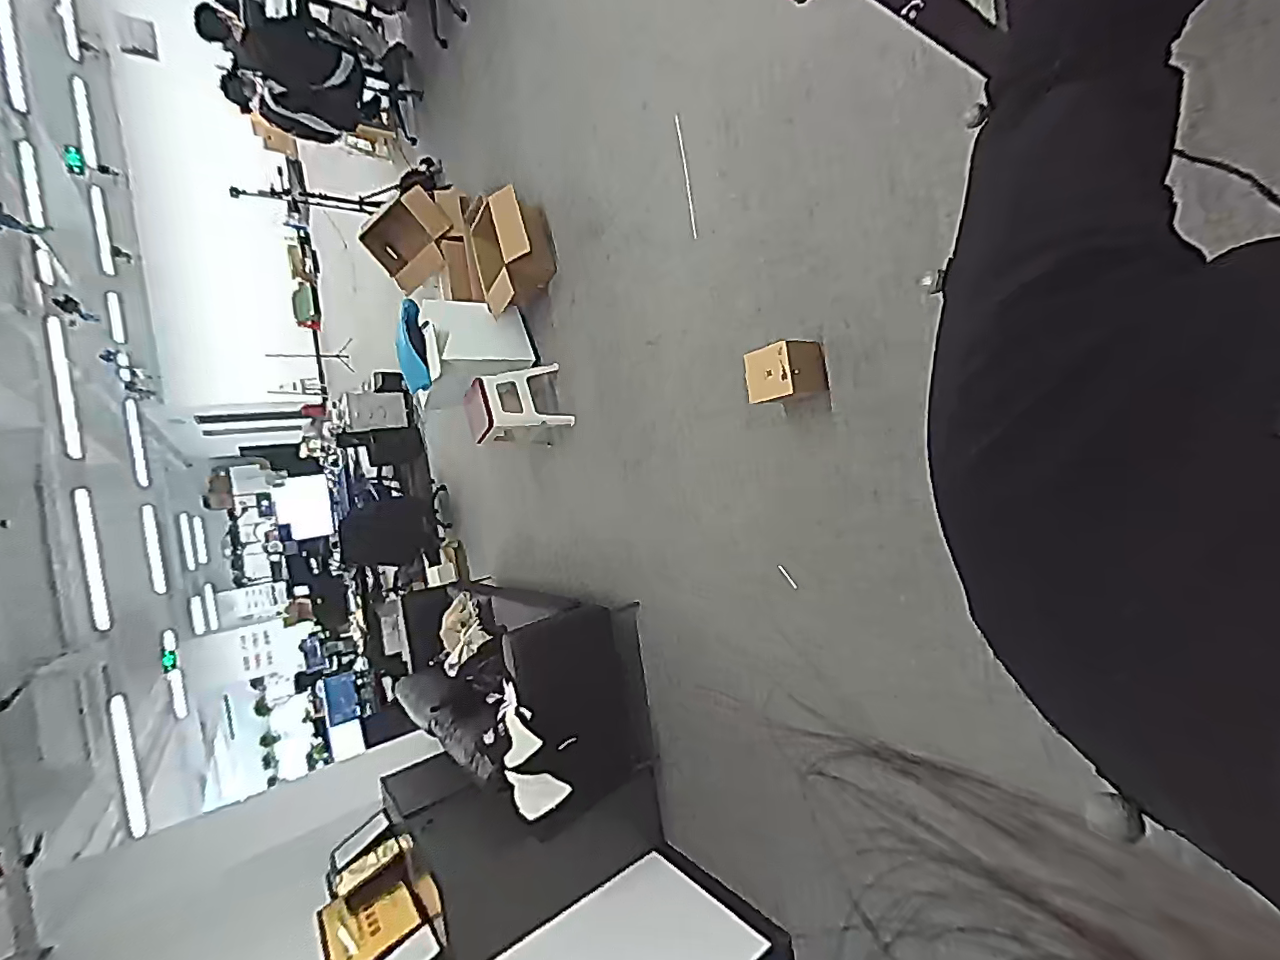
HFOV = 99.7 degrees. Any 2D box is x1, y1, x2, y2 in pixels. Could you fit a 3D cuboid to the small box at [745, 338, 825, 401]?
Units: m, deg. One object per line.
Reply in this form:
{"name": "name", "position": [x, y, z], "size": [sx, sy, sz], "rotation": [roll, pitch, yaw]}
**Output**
{"name": "small box", "position": [0.468, -0.349, 1.739], "size": [0.179, 0.176, 0.168], "rotation": [-7, 91, 55]}
